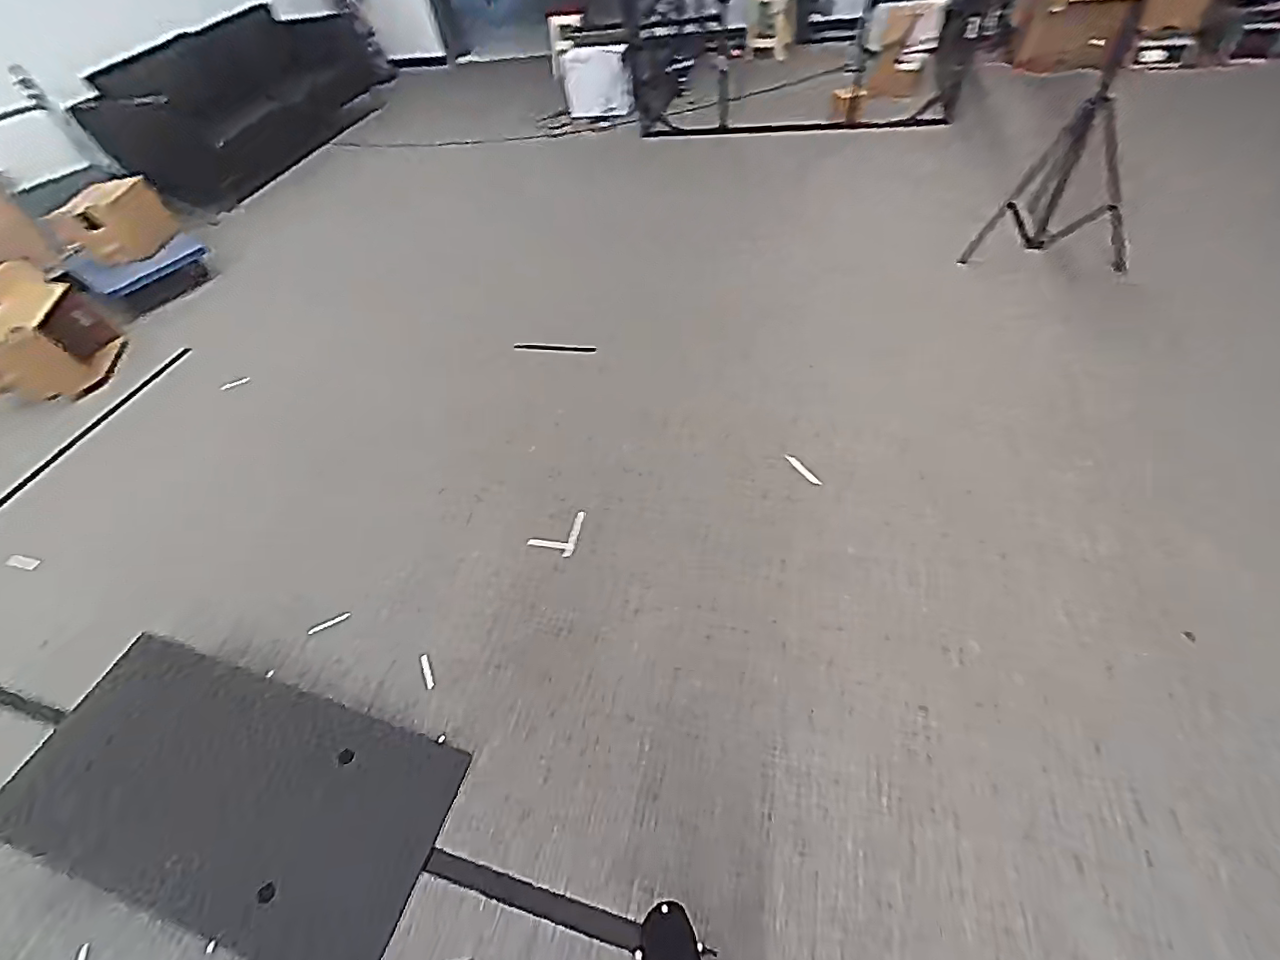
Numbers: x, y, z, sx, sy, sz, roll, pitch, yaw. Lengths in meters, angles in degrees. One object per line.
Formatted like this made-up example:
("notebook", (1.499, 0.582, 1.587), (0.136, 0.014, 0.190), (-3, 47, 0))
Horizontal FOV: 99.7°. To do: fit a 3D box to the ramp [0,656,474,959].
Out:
("ramp", (-0.953, 0.796, 1.295), (0.991, 0.206, 0.509), (7, 50, 15))
